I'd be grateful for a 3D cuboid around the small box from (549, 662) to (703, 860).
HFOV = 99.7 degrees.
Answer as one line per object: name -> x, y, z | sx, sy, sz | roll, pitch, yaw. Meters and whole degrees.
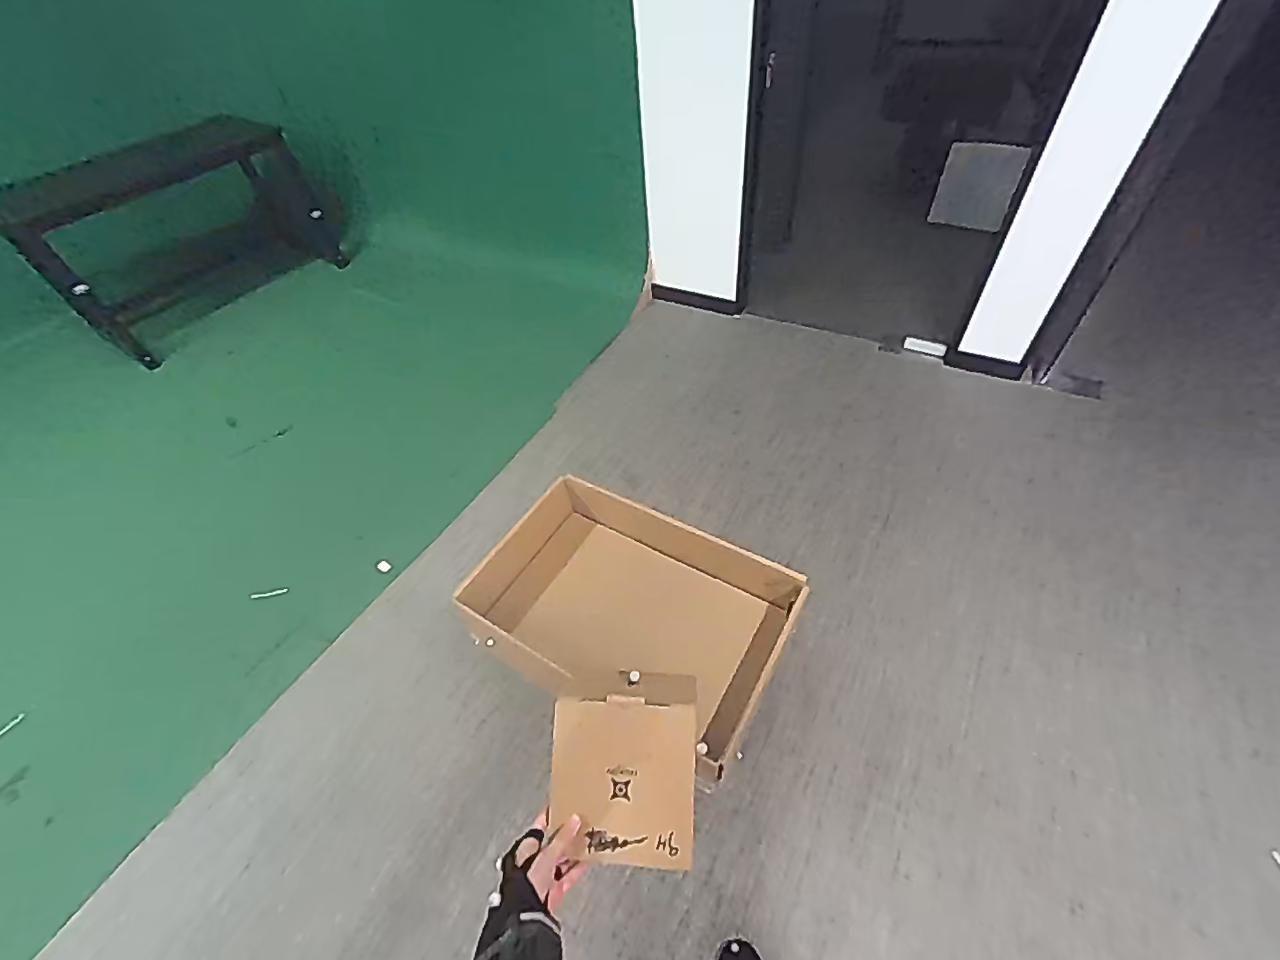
small box -> -0.010, 0.339, 0.689 | 0.168, 0.176, 0.179 | 3, 82, 5
